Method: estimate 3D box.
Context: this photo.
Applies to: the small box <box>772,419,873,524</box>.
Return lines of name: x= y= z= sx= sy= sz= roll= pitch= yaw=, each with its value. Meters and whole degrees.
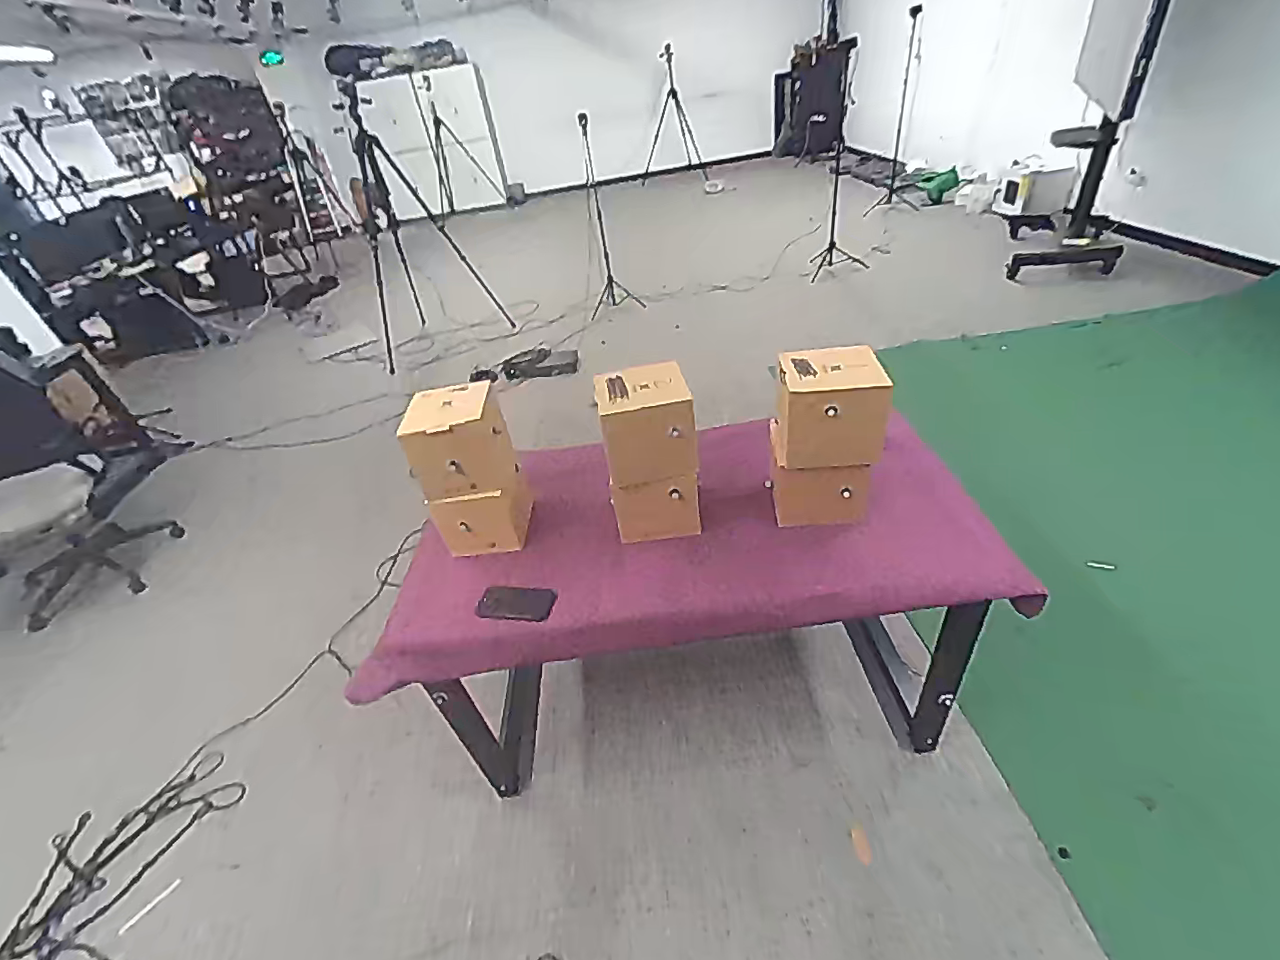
small box: x=0.377 y=-0.021 z=1.147 sx=0.179 sy=0.176 sz=0.168 roll=-4 pitch=37 yaw=10

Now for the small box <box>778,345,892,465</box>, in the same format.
small box: x=0.362 y=-0.141 z=1.036 sx=0.179 sy=0.176 sz=0.168 roll=-3 pitch=37 yaw=8

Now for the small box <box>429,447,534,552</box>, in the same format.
small box: x=-0.348 y=0.049 z=1.226 sx=0.168 sy=0.176 sz=0.179 roll=-7 pitch=37 yaw=5

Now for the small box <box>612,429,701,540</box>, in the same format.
small box: x=0.039 y=0.012 z=1.181 sx=0.179 sy=0.176 sz=0.168 roll=-7 pitch=37 yaw=4

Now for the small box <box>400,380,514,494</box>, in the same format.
small box: x=-0.371 y=-0.085 z=1.134 sx=0.168 sy=0.176 sz=0.179 roll=-9 pitch=38 yaw=0
